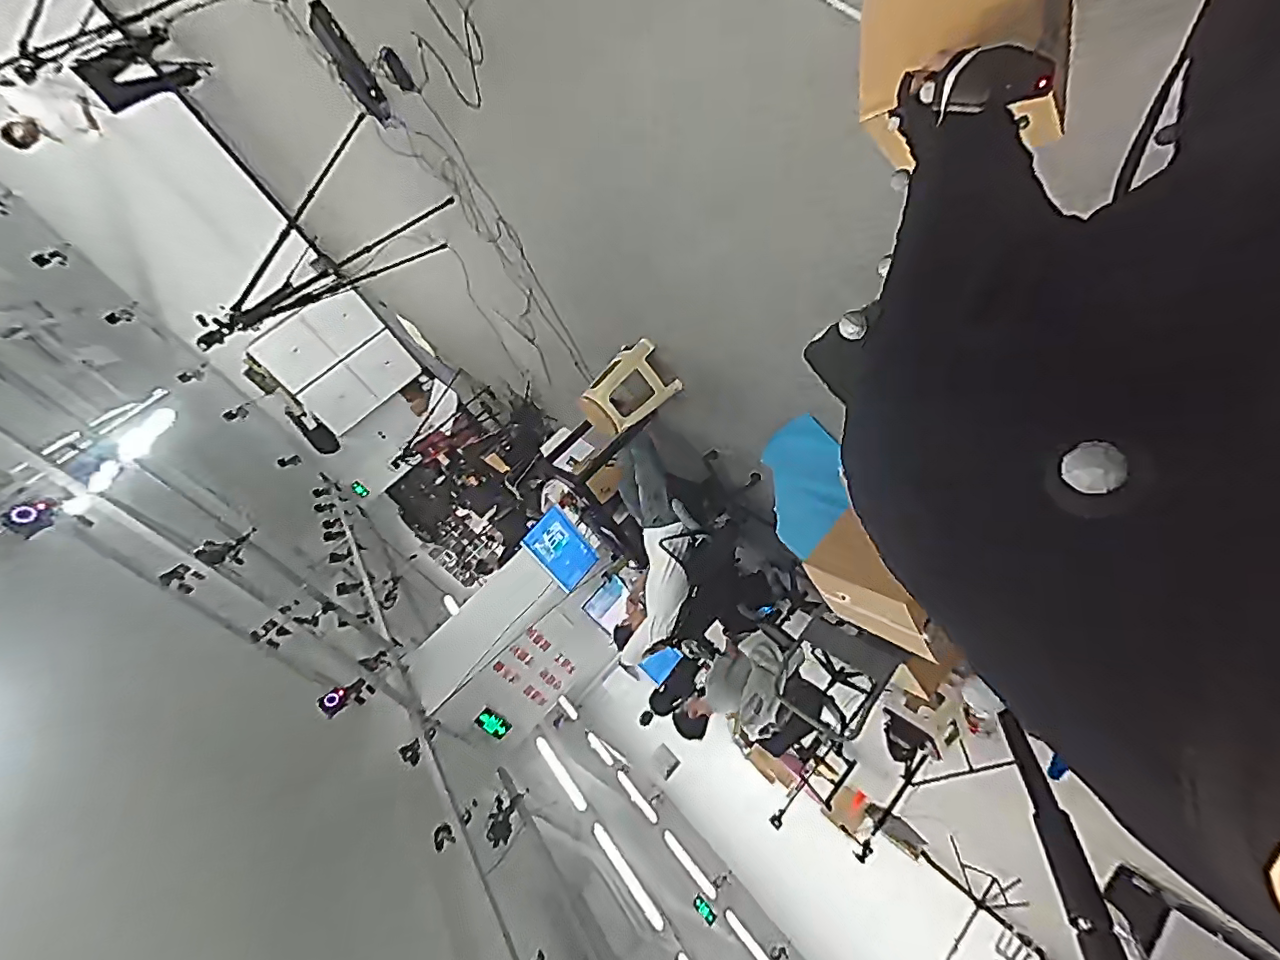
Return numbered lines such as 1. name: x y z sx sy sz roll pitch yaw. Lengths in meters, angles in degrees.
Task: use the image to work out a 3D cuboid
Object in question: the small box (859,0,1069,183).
1. small box: 0.362 -0.472 0.601 0.168 0.176 0.179 4 -177 43
